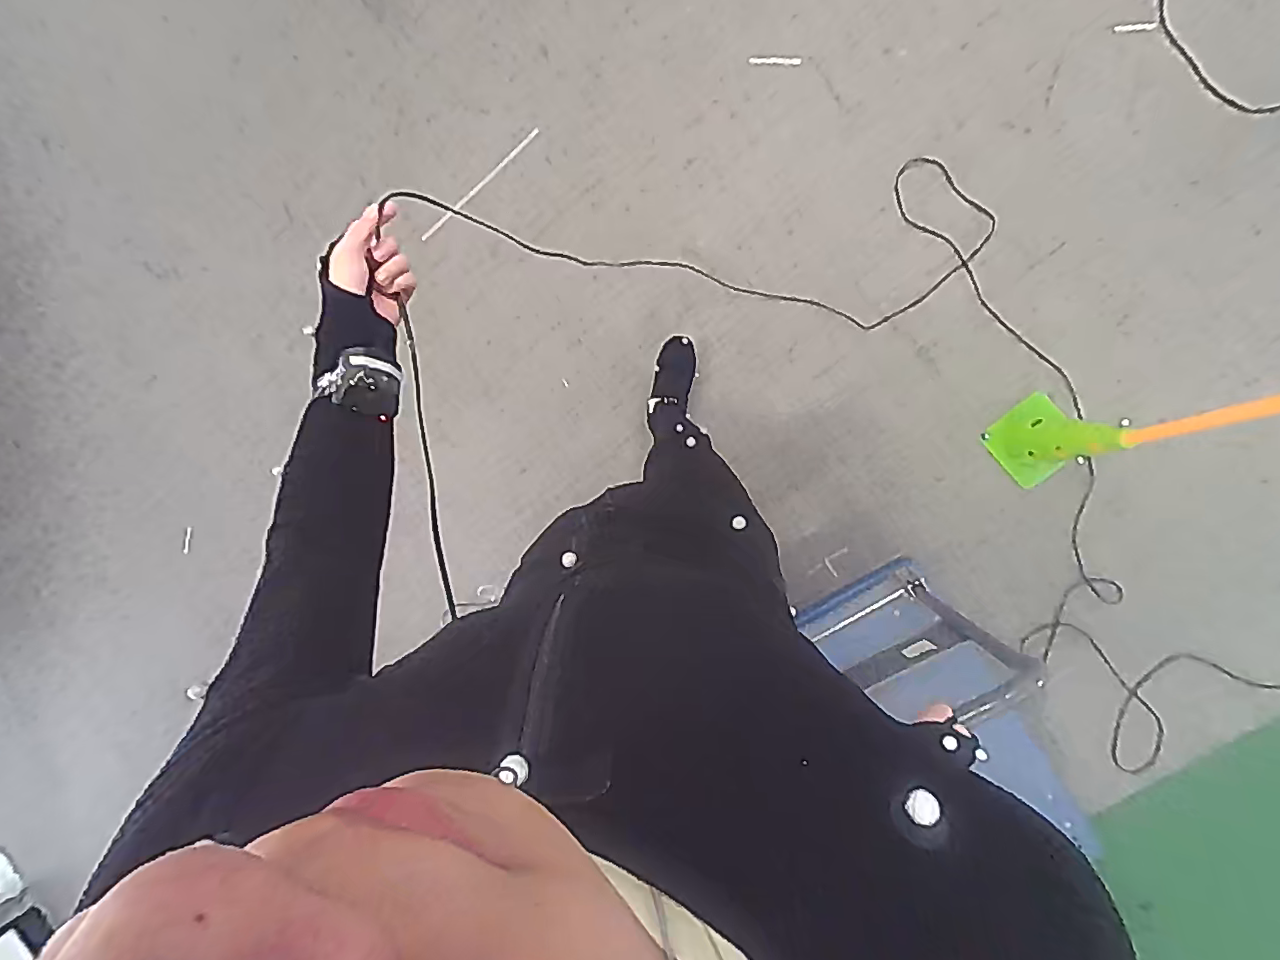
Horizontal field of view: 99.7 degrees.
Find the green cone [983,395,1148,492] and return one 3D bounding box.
[{"bbox_3d":[1.029,-0.088,1.271,0.202,0.368,0.200,-41,88,8],"label":"green cone"}]
